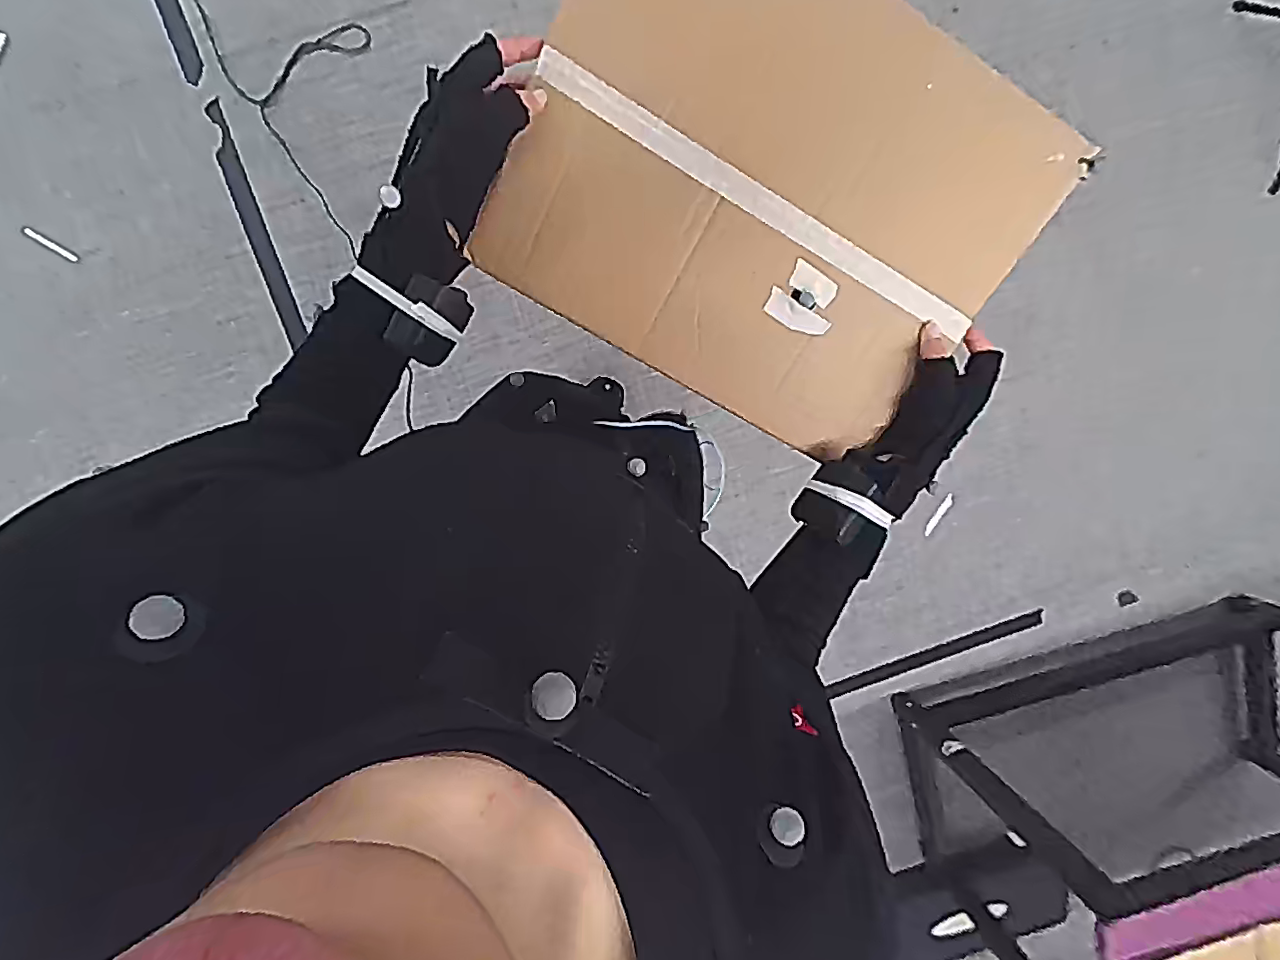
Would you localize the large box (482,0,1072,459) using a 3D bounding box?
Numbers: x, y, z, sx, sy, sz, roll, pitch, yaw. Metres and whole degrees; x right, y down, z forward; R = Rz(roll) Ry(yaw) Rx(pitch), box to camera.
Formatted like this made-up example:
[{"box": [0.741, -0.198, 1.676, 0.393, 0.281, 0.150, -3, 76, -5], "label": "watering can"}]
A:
[{"box": [0.105, -0.284, 0.589, 0.408, 0.320, 0.320, 28, 110, -10], "label": "large box"}]
